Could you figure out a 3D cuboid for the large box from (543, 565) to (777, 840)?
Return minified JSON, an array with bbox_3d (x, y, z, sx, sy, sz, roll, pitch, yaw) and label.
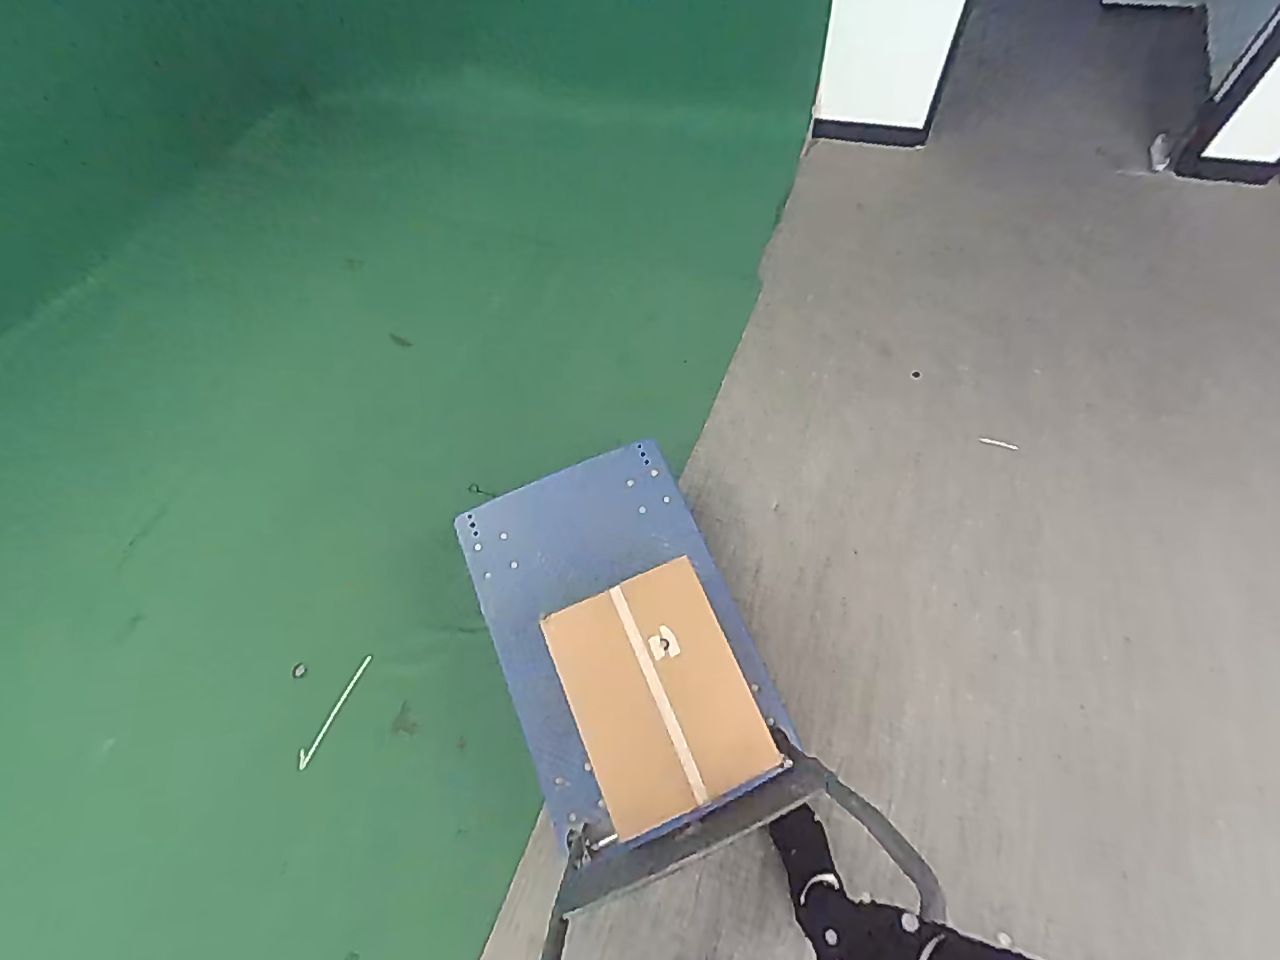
[{"bbox_3d":[0.035,0.444,1.148,0.320,0.320,0.408,-23,72,-6],"label":"large box"}]
